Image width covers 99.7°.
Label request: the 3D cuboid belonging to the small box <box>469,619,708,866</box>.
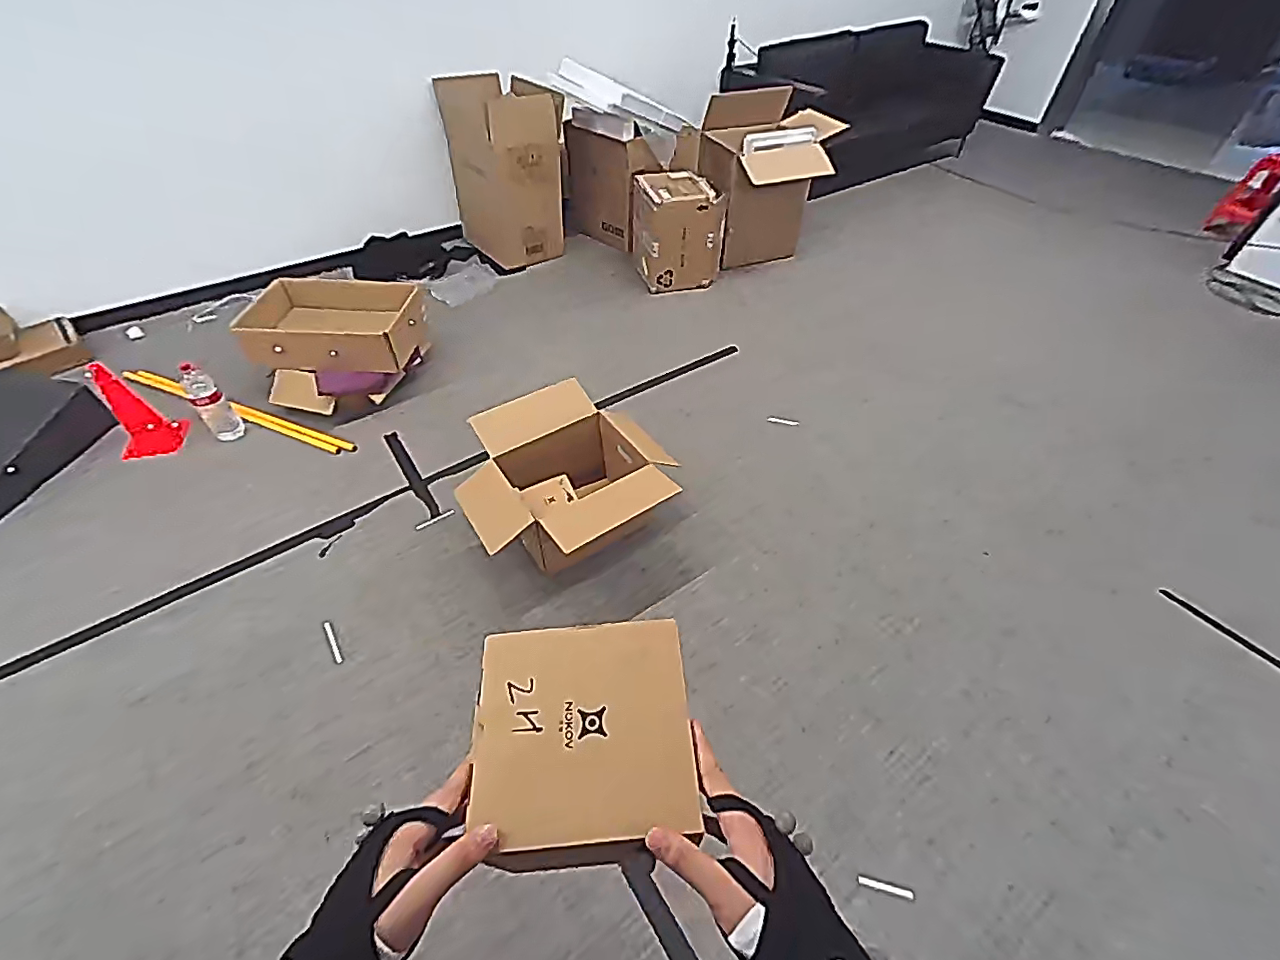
[{"bbox_3d":[-0.039,0.246,0.500,0.179,0.176,0.168,-6,50,0],"label":"small box"}]
